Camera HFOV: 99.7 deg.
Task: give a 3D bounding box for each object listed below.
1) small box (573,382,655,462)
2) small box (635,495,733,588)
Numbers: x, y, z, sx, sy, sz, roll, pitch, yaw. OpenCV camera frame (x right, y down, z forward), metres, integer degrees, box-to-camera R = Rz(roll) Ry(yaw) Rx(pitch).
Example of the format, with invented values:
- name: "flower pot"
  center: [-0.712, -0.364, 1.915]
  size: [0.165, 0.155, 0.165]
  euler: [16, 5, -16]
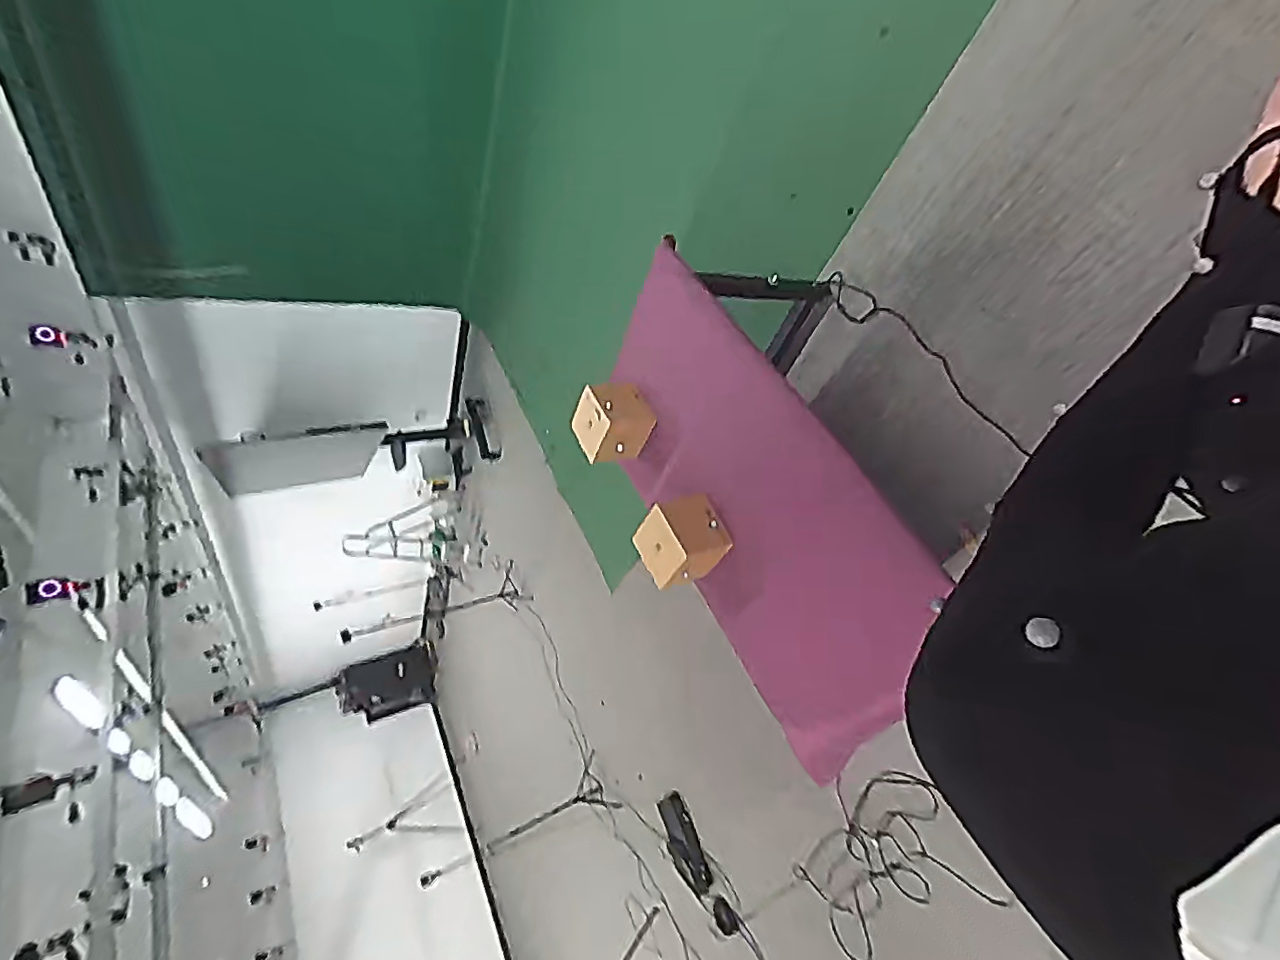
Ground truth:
- name: "small box"
  center: [-0.077, -0.177, 1.639]
  size: [0.168, 0.176, 0.179]
  euler: [59, 141, 27]
- name: "small box"
  center: [0.116, 0.161, 1.441]
  size: [0.168, 0.176, 0.179]
  euler: [60, 141, 26]
